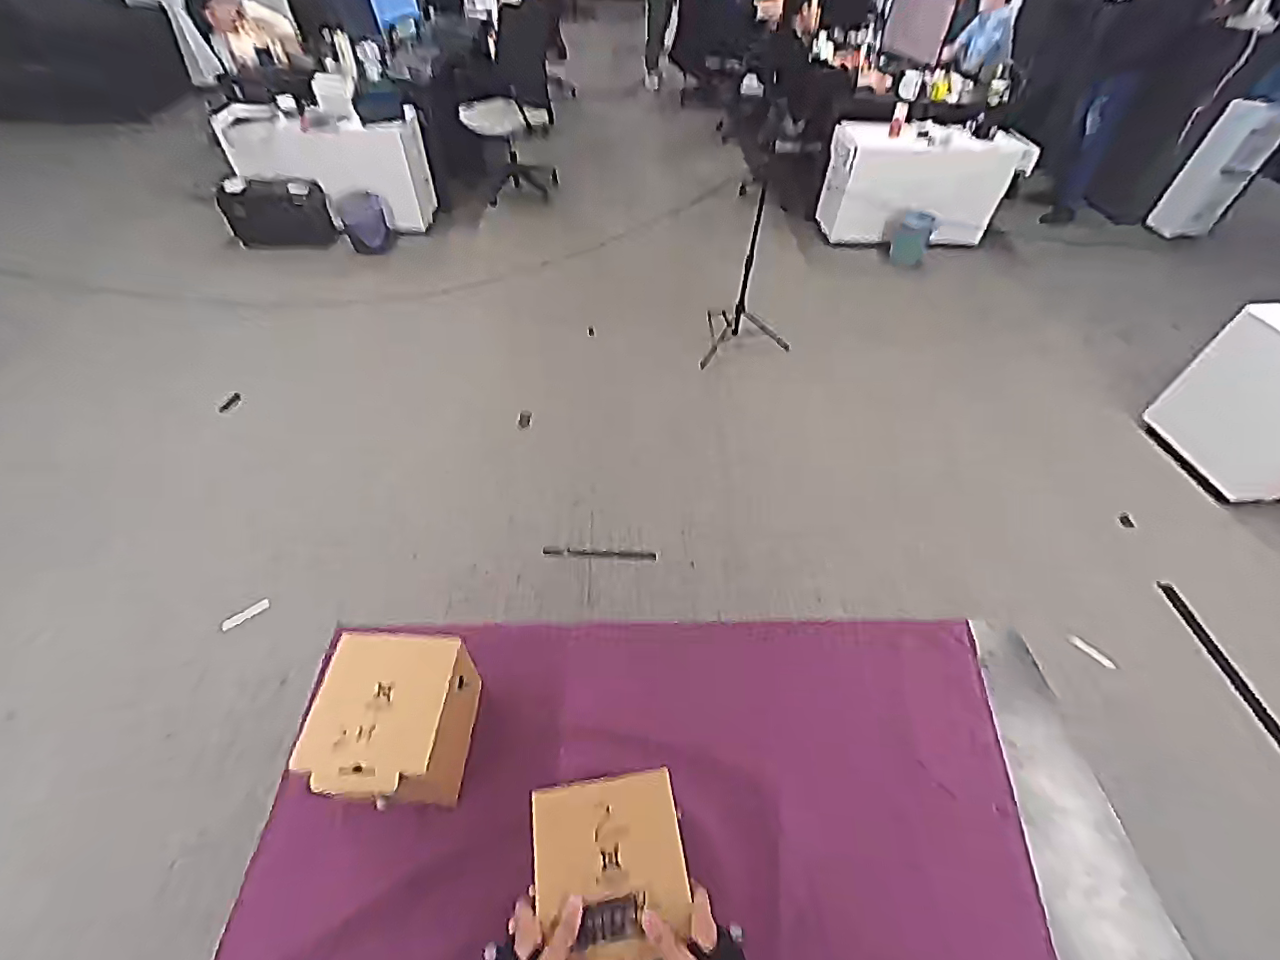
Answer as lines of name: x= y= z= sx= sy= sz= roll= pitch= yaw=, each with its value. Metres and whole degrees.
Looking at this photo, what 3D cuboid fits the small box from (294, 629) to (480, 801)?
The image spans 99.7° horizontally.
small box: x=-0.333 y=0.330 z=0.757 sx=0.168 sy=0.176 sz=0.179 roll=3 pitch=49 yaw=0
